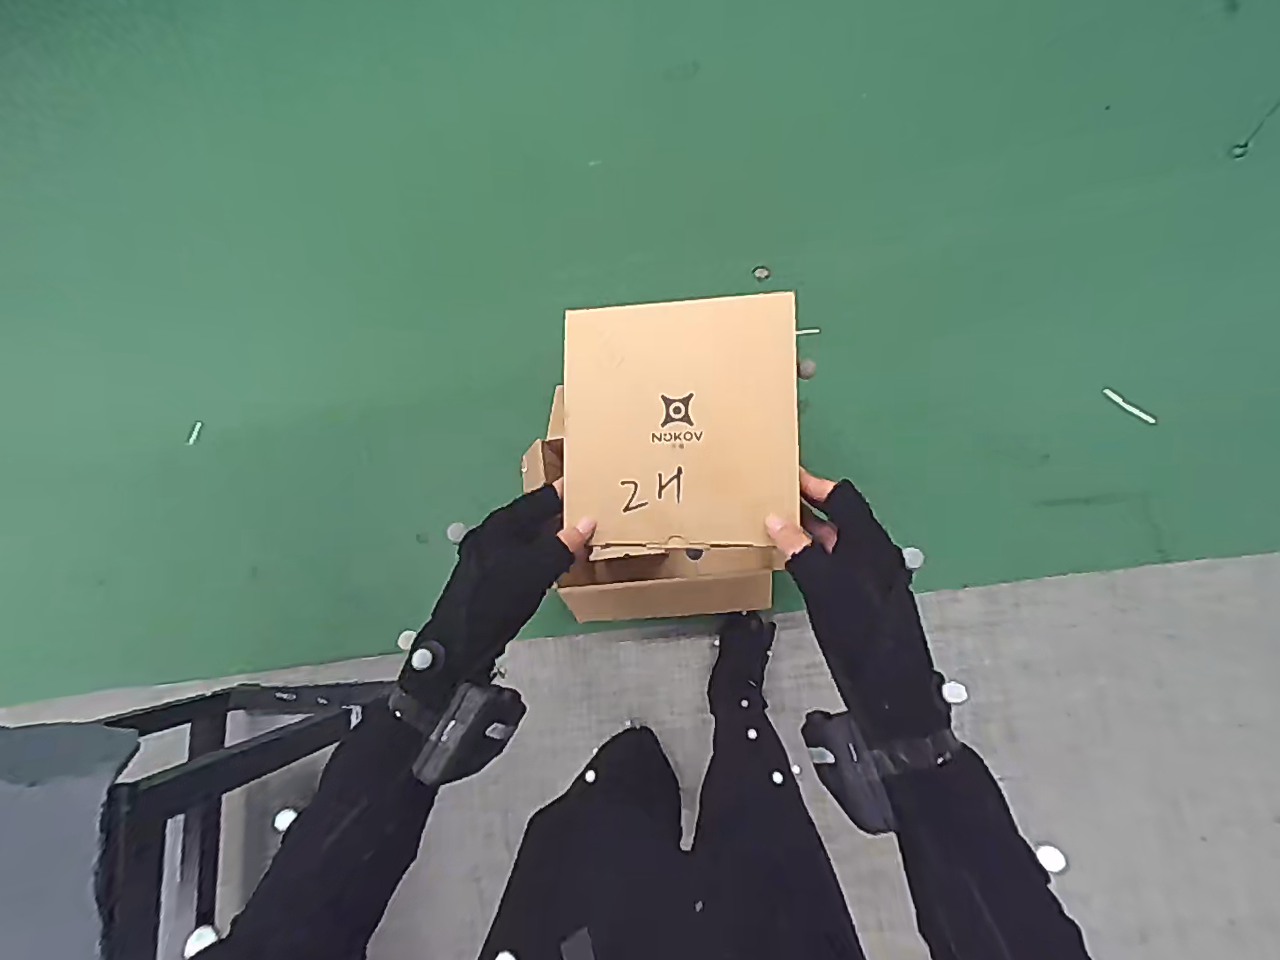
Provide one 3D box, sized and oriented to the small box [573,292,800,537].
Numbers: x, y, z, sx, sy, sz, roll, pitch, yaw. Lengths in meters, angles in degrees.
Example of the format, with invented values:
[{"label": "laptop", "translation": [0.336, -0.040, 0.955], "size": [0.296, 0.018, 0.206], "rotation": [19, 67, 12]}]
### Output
[{"label": "small box", "translation": [0.046, -0.041, 0.470], "size": [0.168, 0.176, 0.179], "rotation": [-2, 87, 13]}]
